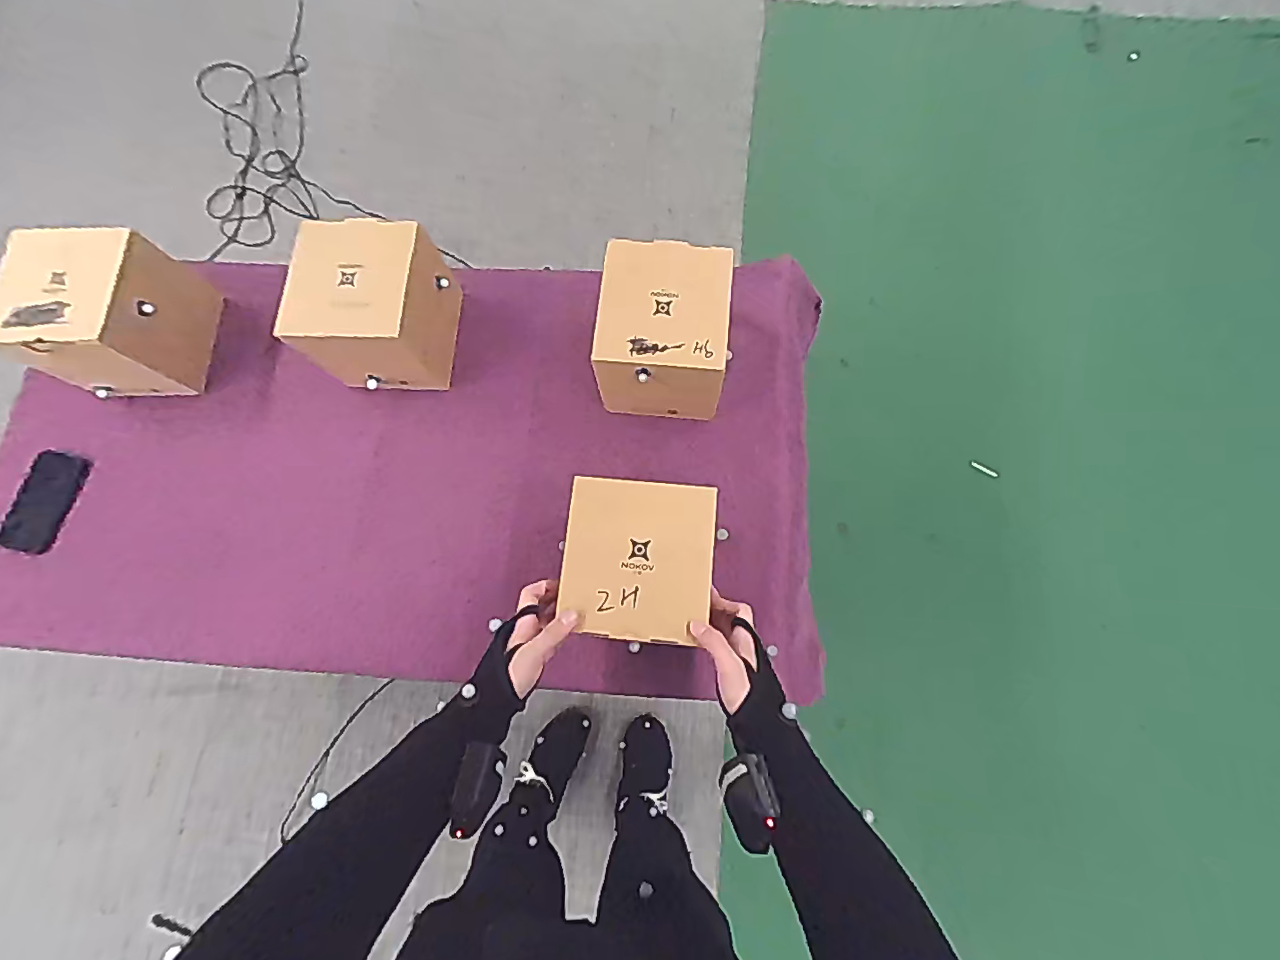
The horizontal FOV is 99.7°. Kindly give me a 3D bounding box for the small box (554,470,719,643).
[{"bbox_3d":[0.001,0.101,0.667,0.168,0.176,0.179,5,75,5],"label":"small box"}]

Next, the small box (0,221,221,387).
[{"bbox_3d":[-0.761,-0.245,0.788,0.168,0.176,0.179,0,74,1],"label":"small box"}]

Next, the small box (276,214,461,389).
[{"bbox_3d":[-0.372,-0.249,0.779,0.168,0.176,0.179,3,76,3],"label":"small box"}]

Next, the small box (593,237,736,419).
[{"bbox_3d":[0.035,-0.204,0.752,0.168,0.176,0.179,6,75,4],"label":"small box"}]
